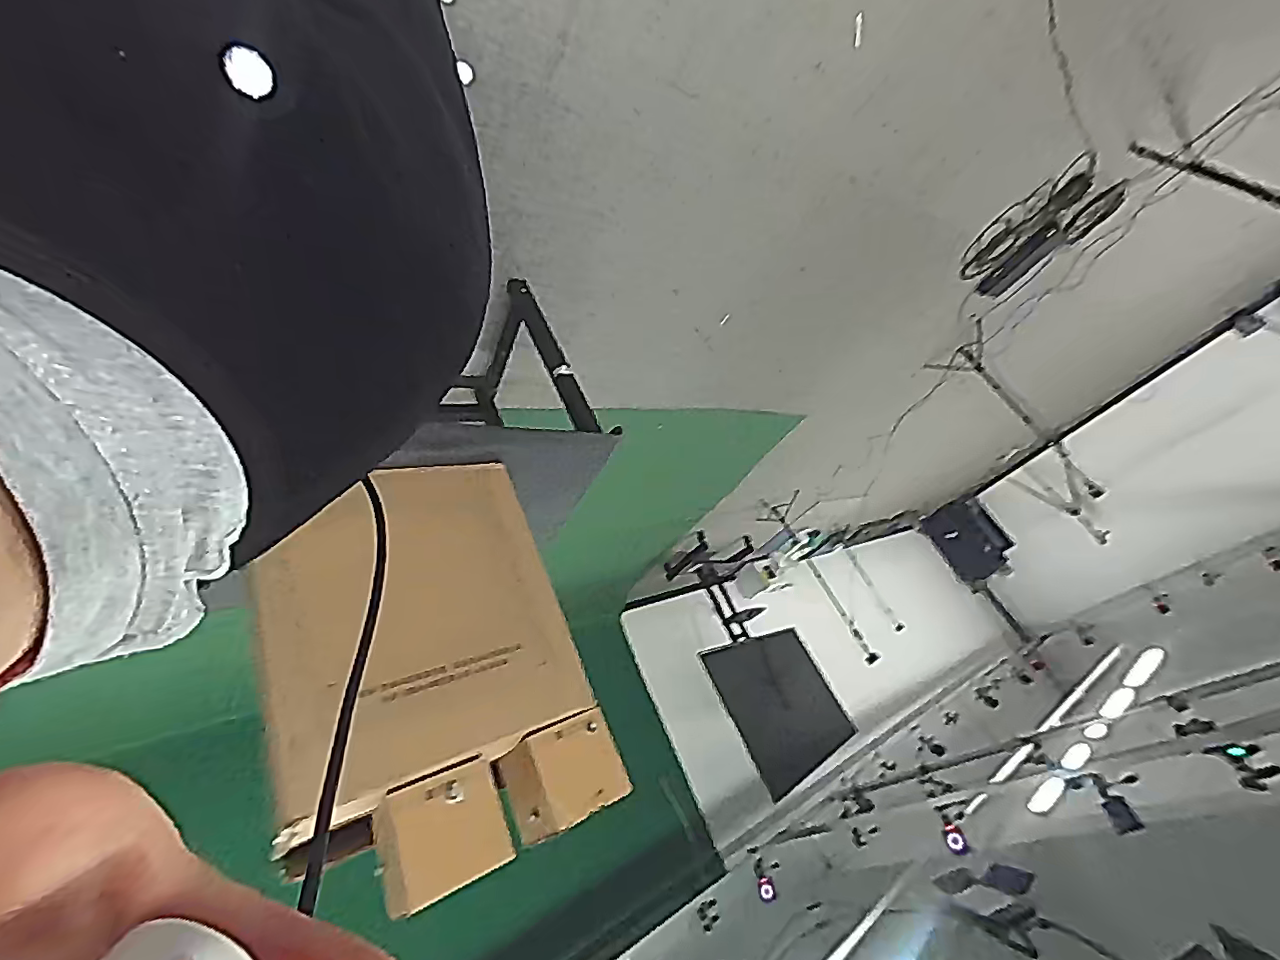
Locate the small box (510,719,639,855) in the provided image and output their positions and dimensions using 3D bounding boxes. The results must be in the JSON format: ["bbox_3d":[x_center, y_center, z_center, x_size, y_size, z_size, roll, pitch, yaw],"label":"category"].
[{"bbox_3d":[-0.138,0.594,1.064,0.168,0.176,0.179,-5,147,-39],"label":"small box"}]

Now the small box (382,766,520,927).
[{"bbox_3d":[-0.329,0.615,0.920,0.168,0.176,0.179,-6,146,-38],"label":"small box"}]
